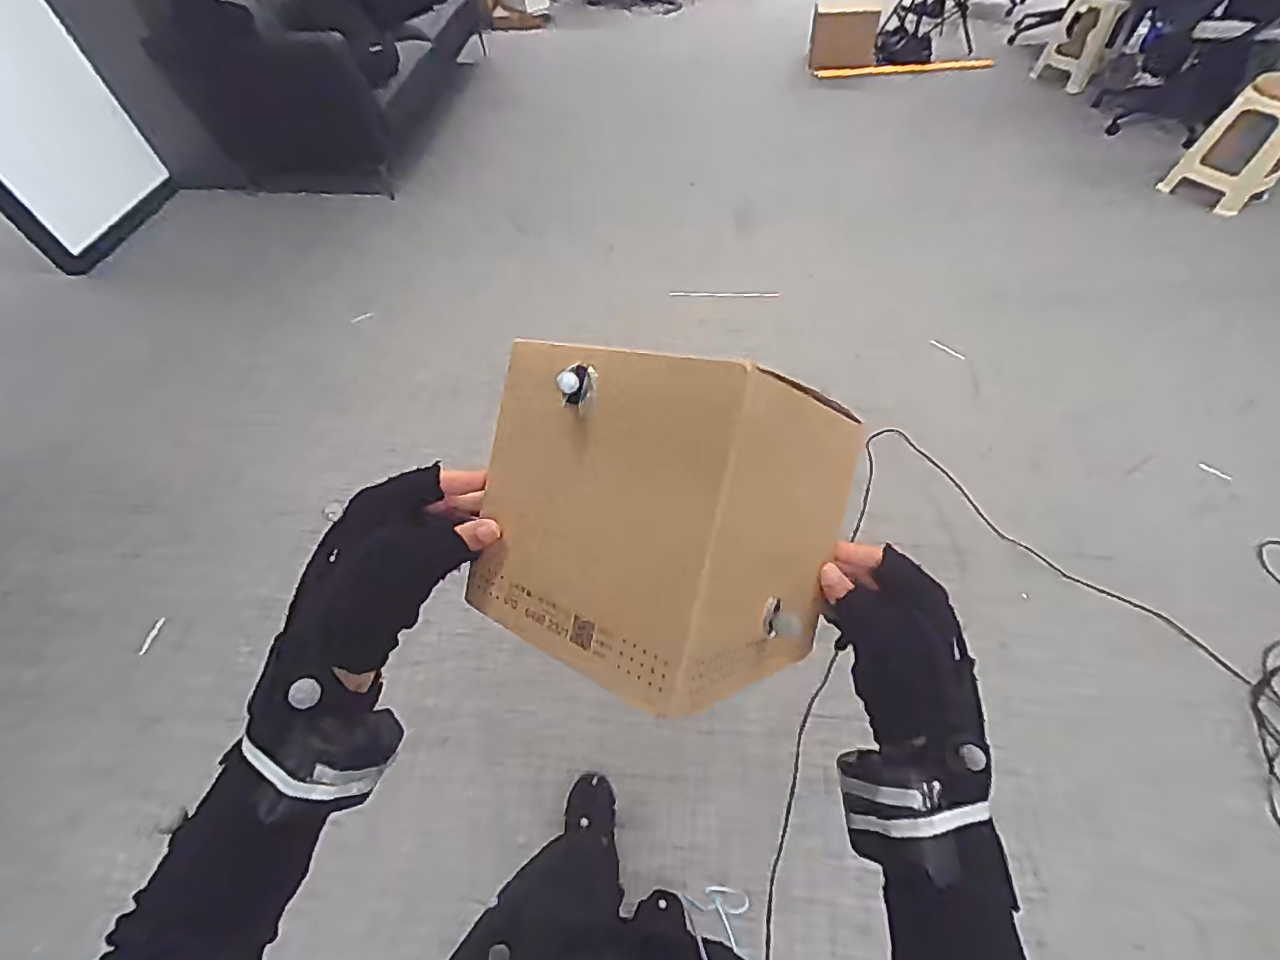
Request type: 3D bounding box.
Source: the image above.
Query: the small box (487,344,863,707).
[{"bbox_3d":[0.023,0.020,0.362,0.168,0.179,0.176,17,97,38],"label":"small box"}]
